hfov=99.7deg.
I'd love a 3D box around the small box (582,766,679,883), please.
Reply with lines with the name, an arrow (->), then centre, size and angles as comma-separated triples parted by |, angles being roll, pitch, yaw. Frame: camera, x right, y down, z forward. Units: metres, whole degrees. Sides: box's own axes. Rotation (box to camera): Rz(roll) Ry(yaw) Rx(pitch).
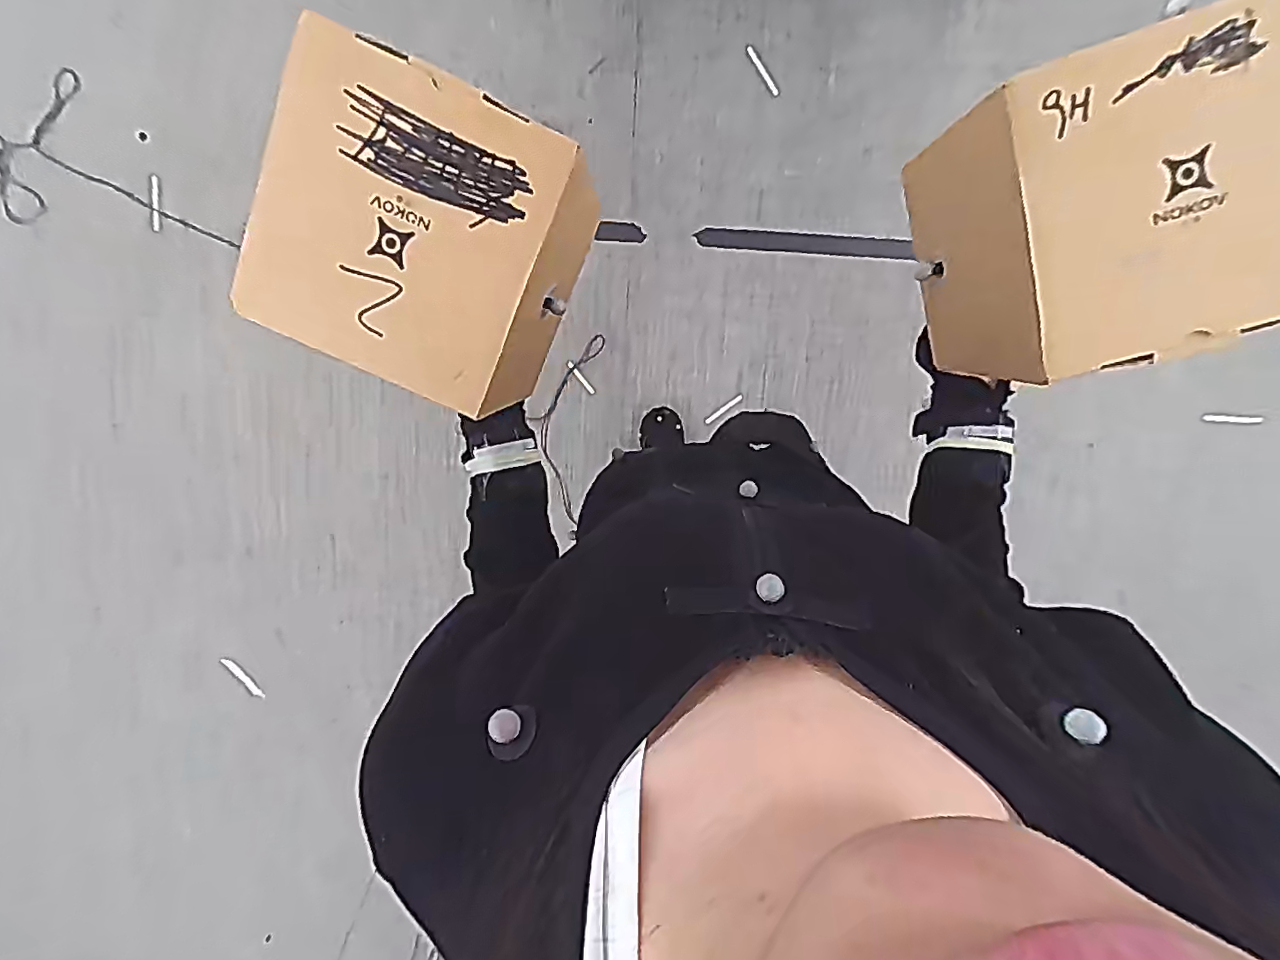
small box -> -0.019, 0.763, 1.190 | 0.179, 0.176, 0.168 | 11, 96, 0

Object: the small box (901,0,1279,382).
small box -> 0.308, -0.184, 0.382 | 0.168, 0.176, 0.179 | -15, 104, 10

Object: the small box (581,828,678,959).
small box -> -0.018, 0.795, 1.030 | 0.168, 0.176, 0.179 | -4, 97, 2
